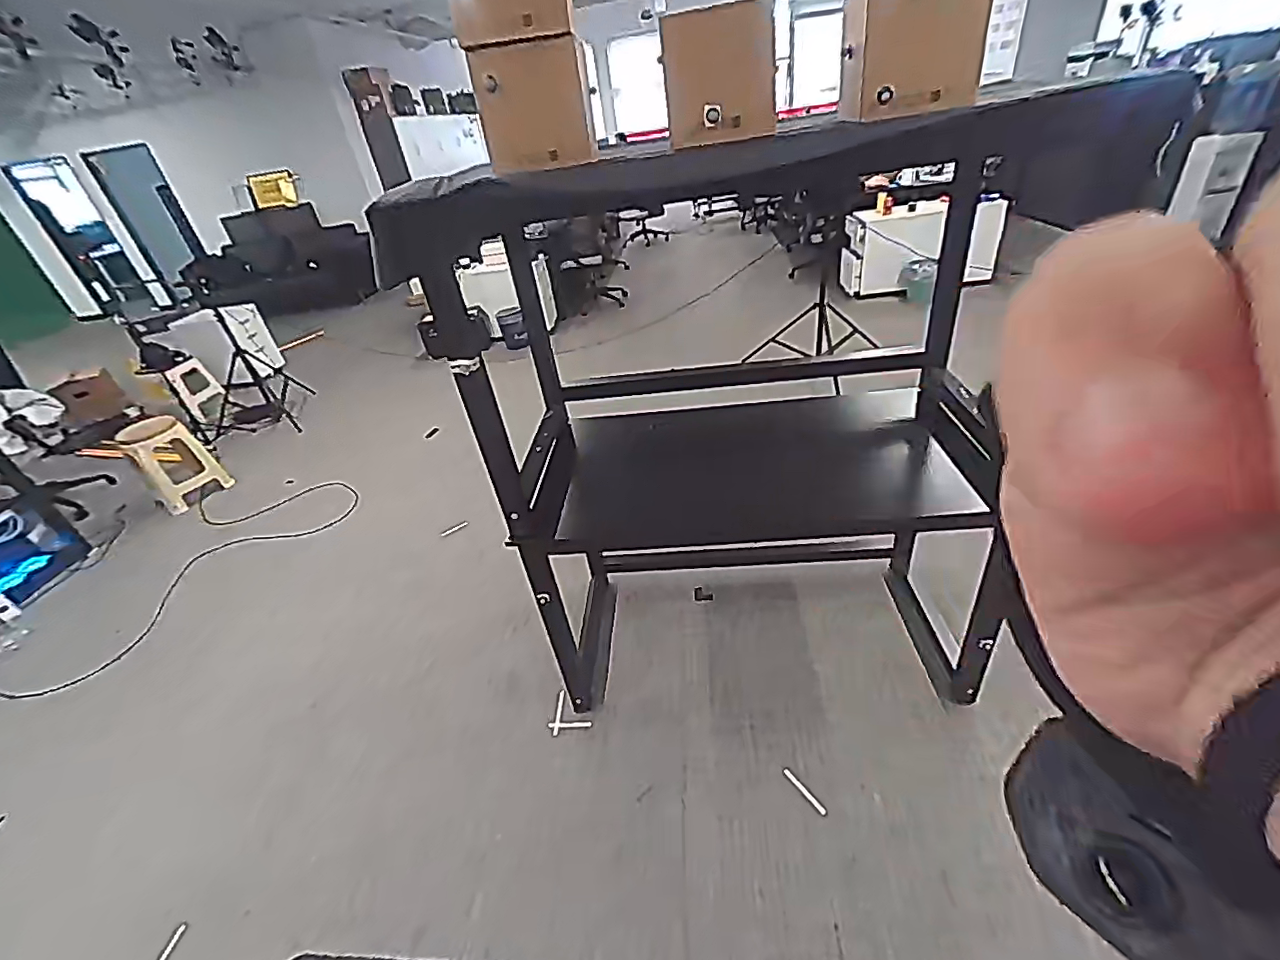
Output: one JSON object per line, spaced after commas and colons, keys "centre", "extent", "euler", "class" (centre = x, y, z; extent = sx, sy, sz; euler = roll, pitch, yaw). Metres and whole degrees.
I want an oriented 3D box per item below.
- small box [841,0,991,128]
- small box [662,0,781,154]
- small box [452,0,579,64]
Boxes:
{"centre": [0.412, -0.651, 0.827], "extent": [0.168, 0.176, 0.179], "euler": [-3, 33, 9], "class": "small box"}
{"centre": [0.131, -0.625, 0.858], "extent": [0.168, 0.176, 0.179], "euler": [-4, 33, 10], "class": "small box"}
{"centre": [-0.187, -0.736, 0.798], "extent": [0.168, 0.176, 0.179], "euler": [-6, 33, 1], "class": "small box"}
